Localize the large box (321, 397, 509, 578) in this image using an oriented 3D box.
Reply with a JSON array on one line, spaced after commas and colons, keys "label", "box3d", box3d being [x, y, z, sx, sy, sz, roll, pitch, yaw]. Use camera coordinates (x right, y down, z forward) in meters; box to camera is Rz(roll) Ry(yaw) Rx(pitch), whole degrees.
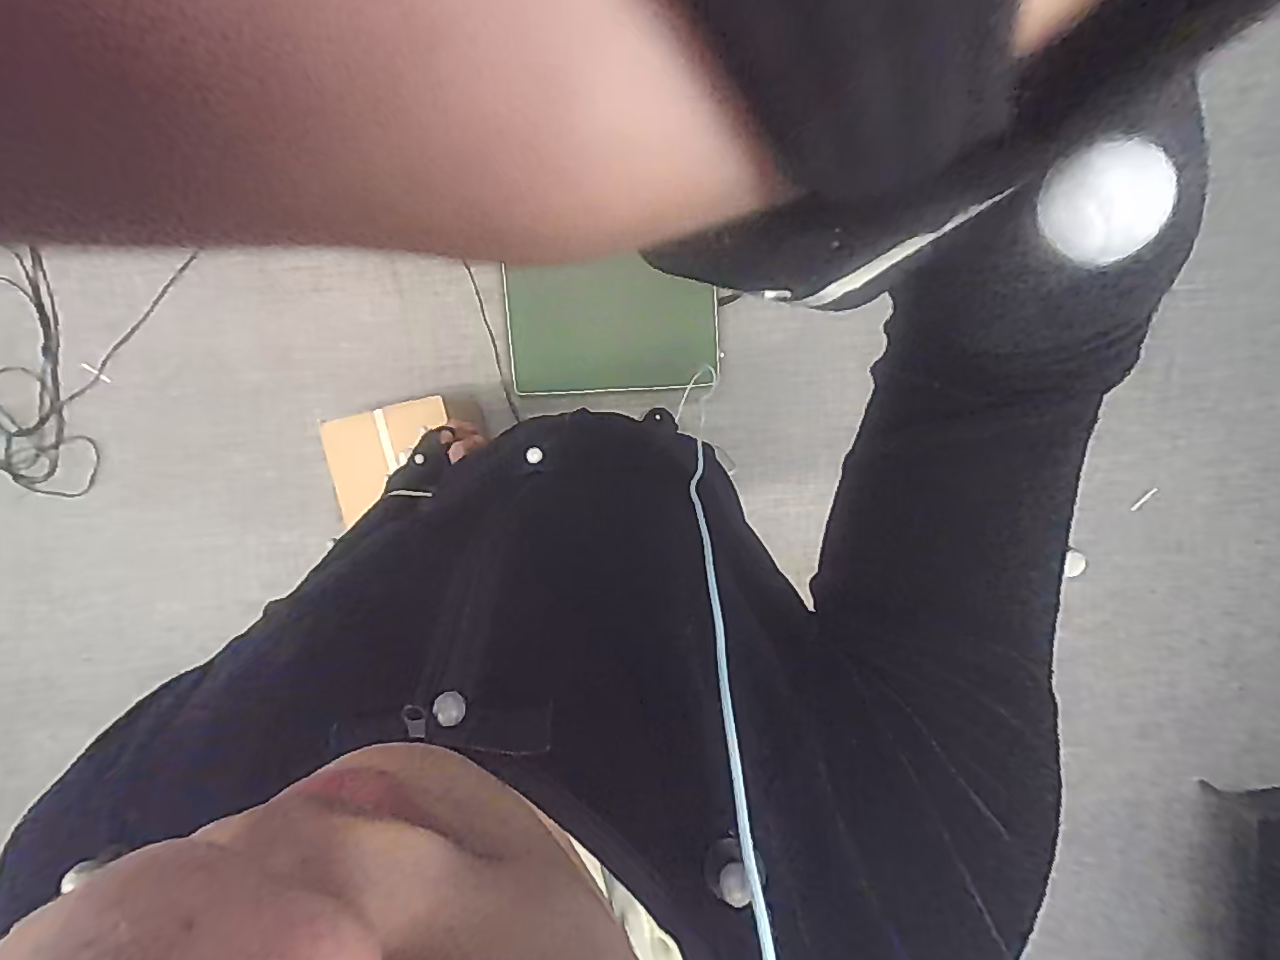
[{"label": "large box", "box3d": [-0.587, 0.009, 1.483, 0.320, 0.320, 0.408, -13, 95, 1]}]
